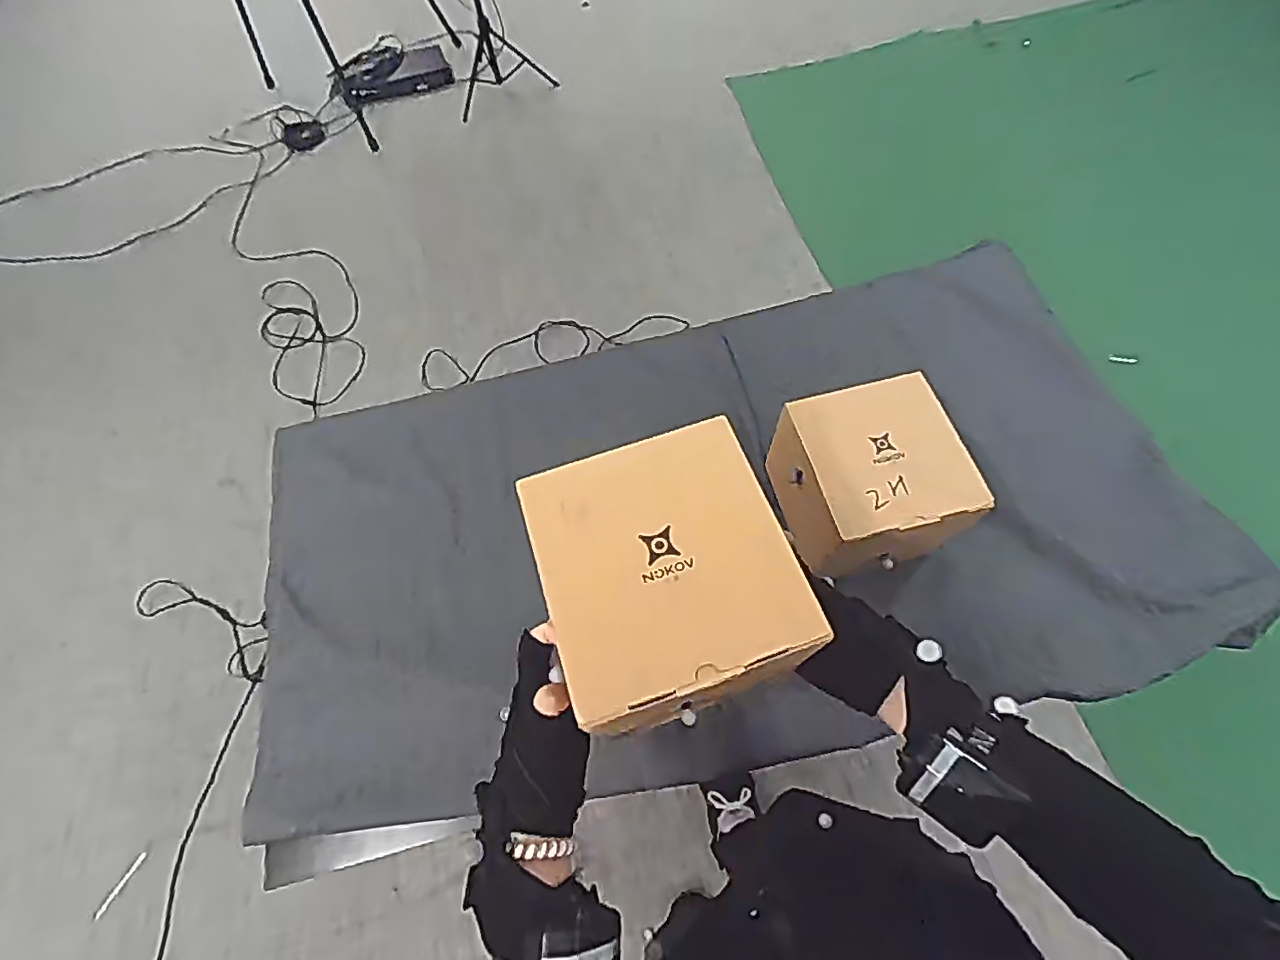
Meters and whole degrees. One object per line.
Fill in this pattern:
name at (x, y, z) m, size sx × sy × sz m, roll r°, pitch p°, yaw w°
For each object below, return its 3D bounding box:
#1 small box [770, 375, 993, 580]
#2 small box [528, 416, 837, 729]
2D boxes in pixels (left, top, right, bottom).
small box at (0.270, 0.004, 0.658) m, size 0.168 × 0.176 × 0.179 m, roll -13°, pitch 65°, yaw -2°
small box at (0.022, 0.082, 0.433) m, size 0.168 × 0.176 × 0.179 m, roll -18°, pitch 64°, yaw -7°
